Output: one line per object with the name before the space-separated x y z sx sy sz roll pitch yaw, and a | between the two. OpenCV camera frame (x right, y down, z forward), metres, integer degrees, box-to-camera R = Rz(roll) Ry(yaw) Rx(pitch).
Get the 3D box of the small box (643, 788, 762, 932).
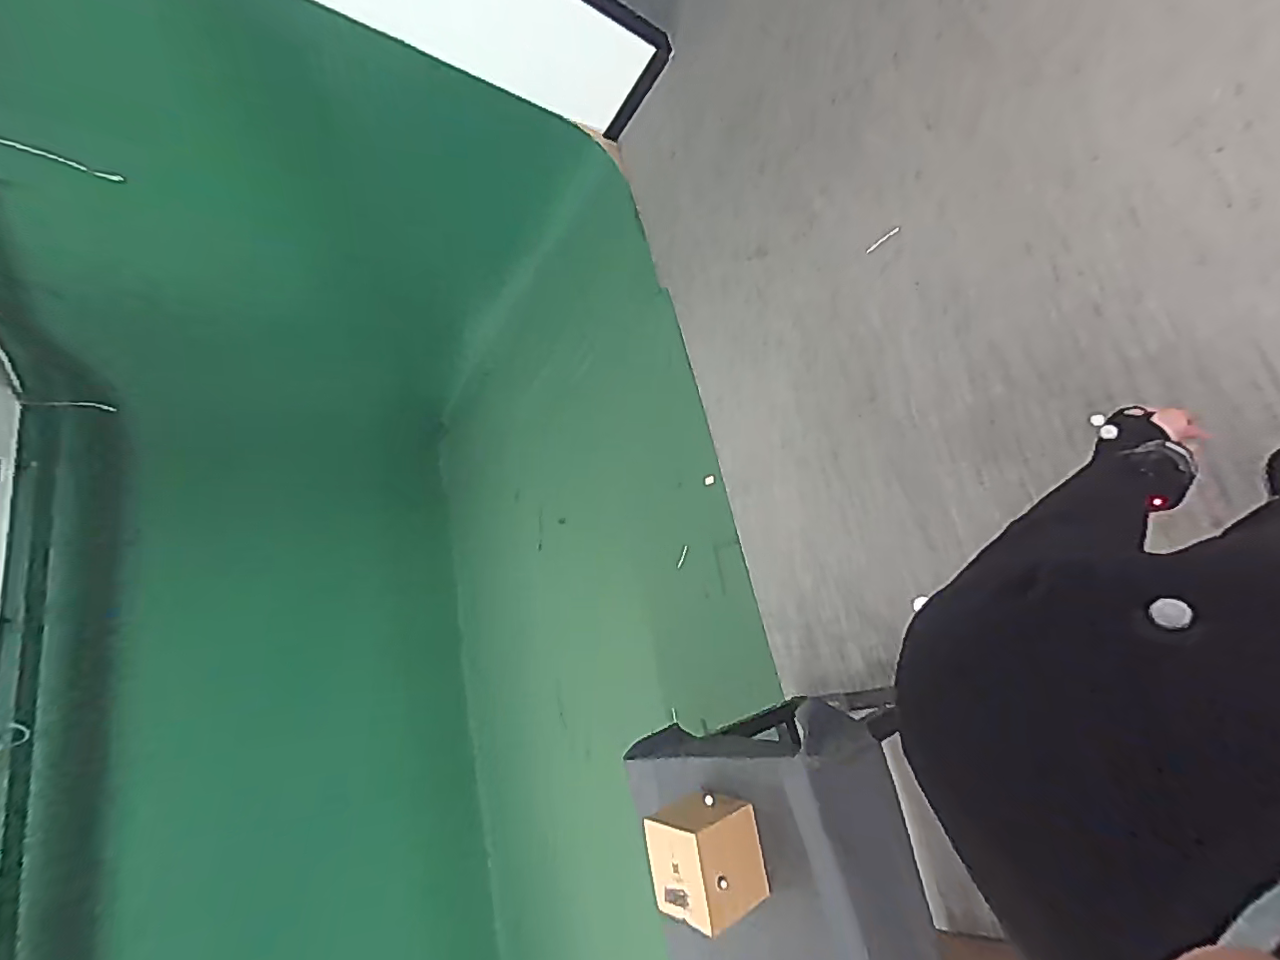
small box | 0.131 0.774 1.124 0.168 0.176 0.179 -24 71 49
